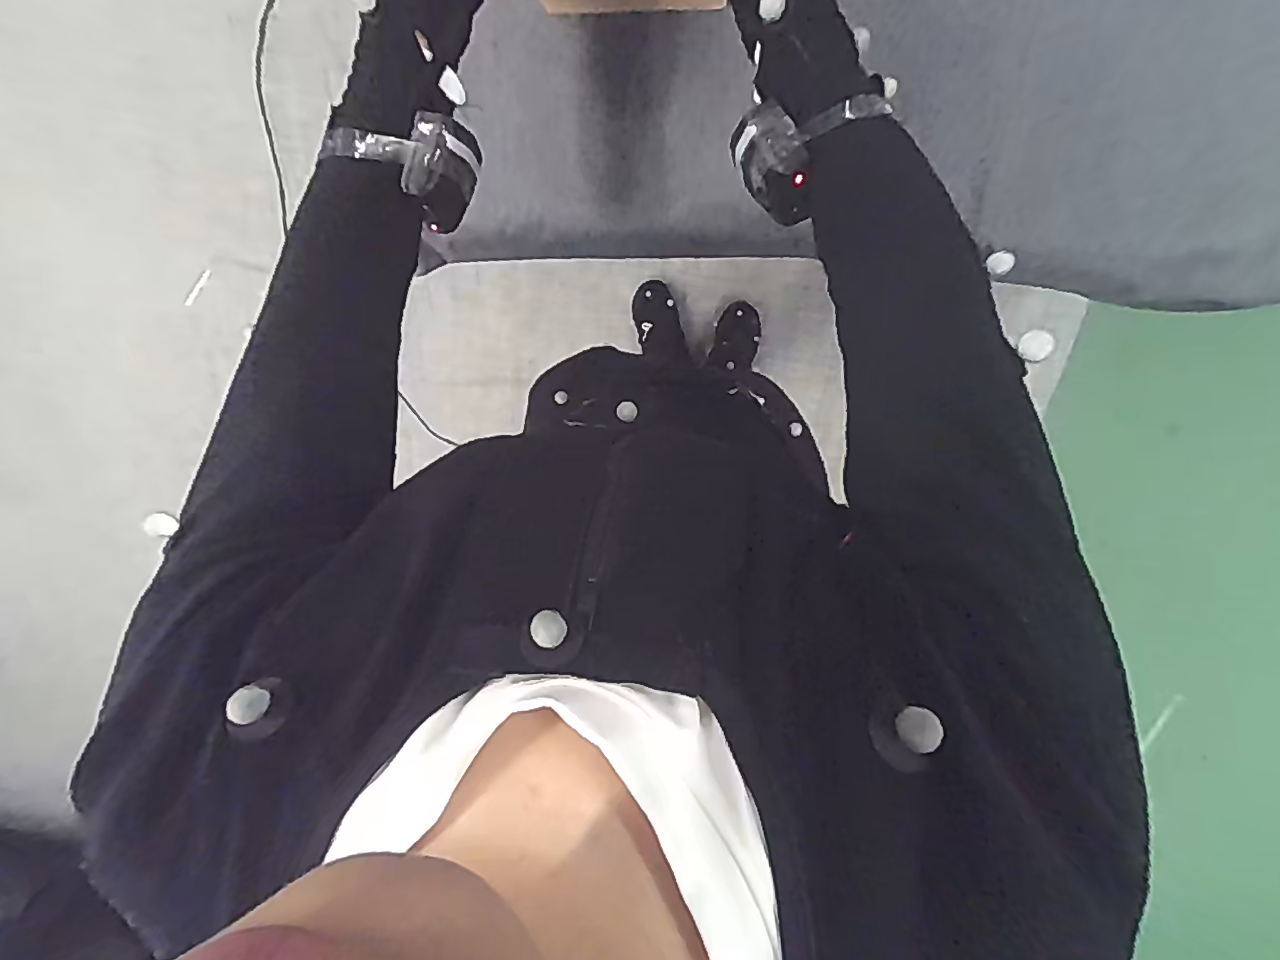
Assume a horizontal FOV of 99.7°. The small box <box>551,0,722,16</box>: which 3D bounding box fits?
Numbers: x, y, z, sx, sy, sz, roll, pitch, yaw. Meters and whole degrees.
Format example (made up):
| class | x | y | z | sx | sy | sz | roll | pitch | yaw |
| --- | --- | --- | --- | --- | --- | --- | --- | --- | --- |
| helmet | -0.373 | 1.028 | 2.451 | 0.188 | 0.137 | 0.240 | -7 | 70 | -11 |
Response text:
| class | x | y | z | sx | sy | sz | roll | pitch | yaw |
| --- | --- | --- | --- | --- | --- | --- | --- | --- | --- |
| small box | -0.009 | -0.497 | 0.425 | 0.179 | 0.176 | 0.168 | 4 | 115 | 5 |
